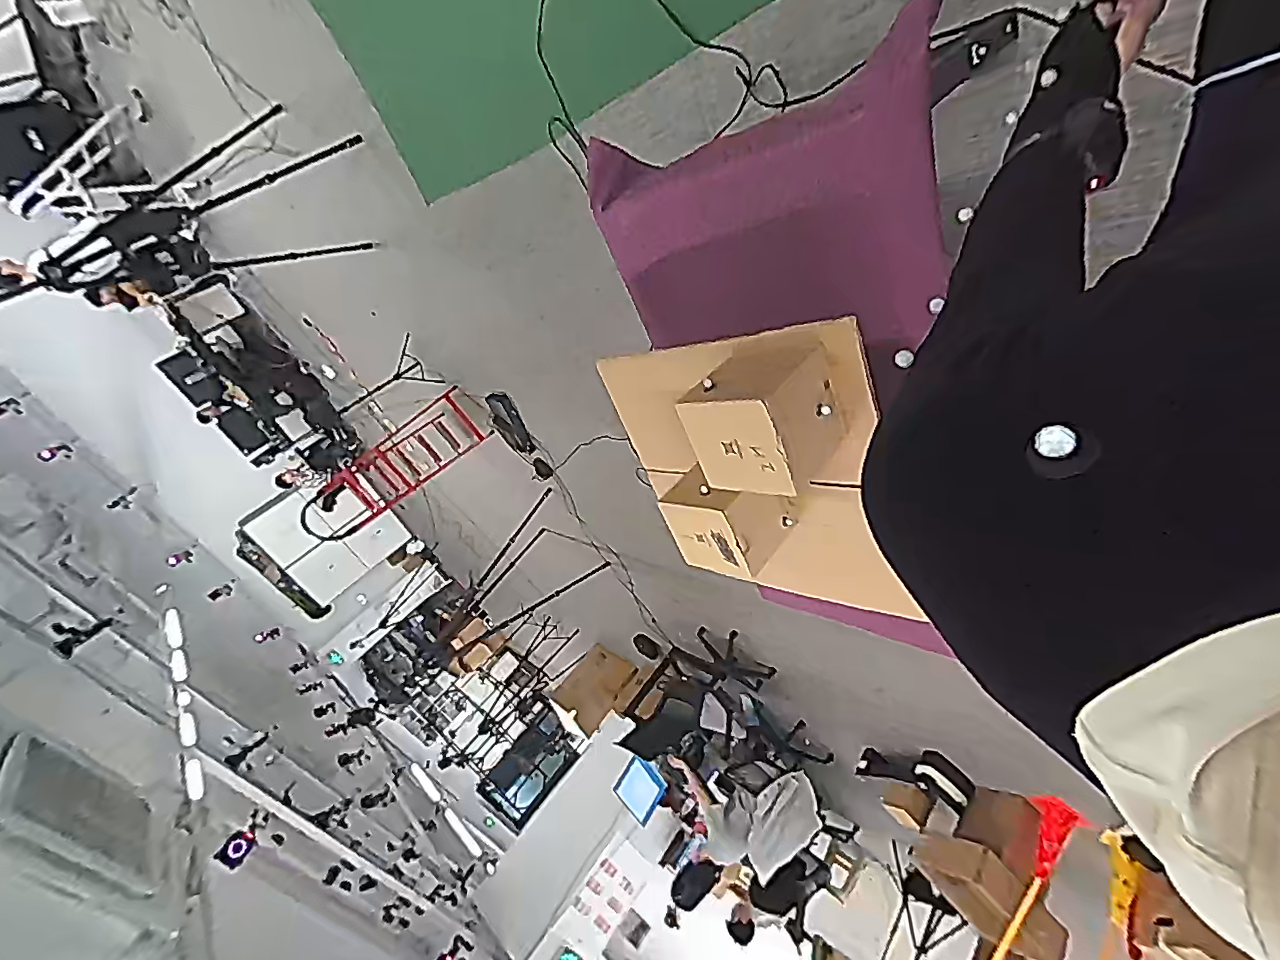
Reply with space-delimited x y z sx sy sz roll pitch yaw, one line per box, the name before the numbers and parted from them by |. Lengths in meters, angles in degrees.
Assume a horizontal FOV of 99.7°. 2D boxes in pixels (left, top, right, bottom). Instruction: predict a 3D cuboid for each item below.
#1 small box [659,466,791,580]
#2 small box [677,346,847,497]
small box | 0.176 0.067 1.066 0.179 0.176 0.168 6 129 49
small box | 0.196 -0.095 0.856 0.179 0.176 0.168 6 130 48
